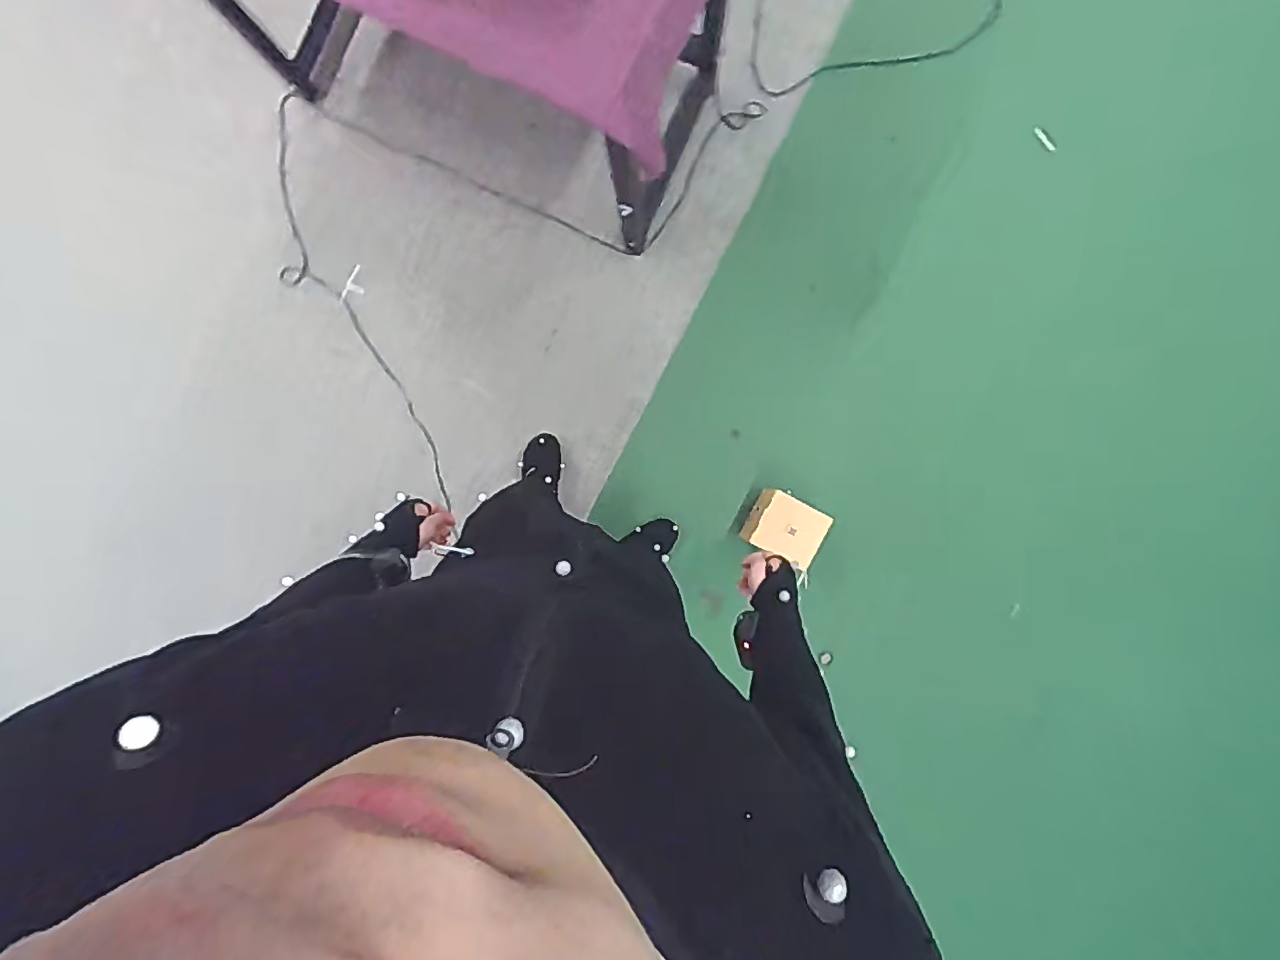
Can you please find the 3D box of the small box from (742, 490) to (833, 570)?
[{"bbox_3d":[0.413,0.133,1.541,0.179,0.176,0.168,28,91,2],"label":"small box"}]
